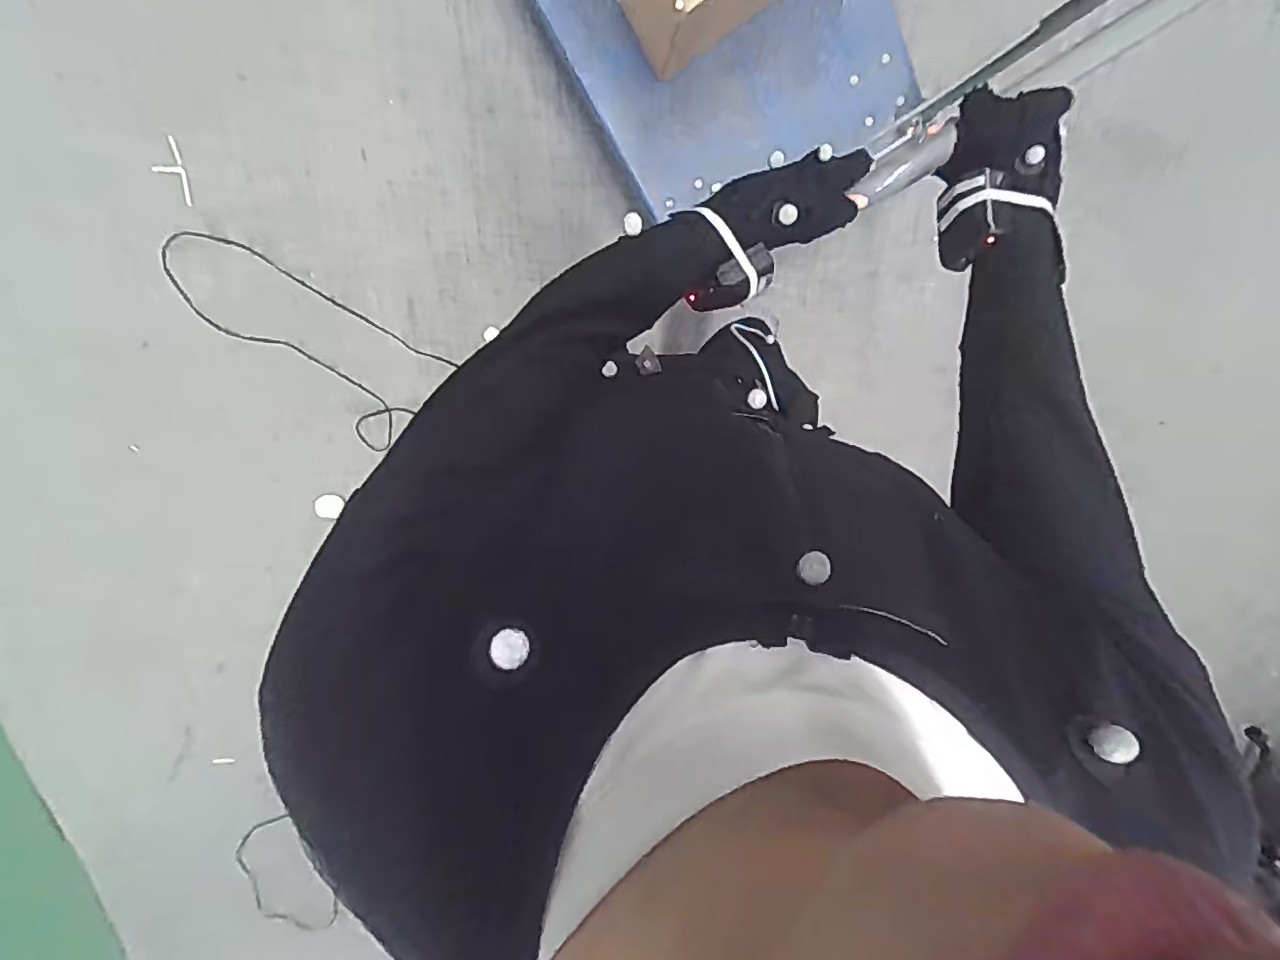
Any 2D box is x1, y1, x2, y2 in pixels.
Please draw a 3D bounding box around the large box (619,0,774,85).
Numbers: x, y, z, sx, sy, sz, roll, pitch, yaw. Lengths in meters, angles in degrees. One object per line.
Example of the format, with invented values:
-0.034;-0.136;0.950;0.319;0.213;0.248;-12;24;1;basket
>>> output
0.139;-0.932;0.835;0.408;0.320;0.320;-34;108;9;large box
